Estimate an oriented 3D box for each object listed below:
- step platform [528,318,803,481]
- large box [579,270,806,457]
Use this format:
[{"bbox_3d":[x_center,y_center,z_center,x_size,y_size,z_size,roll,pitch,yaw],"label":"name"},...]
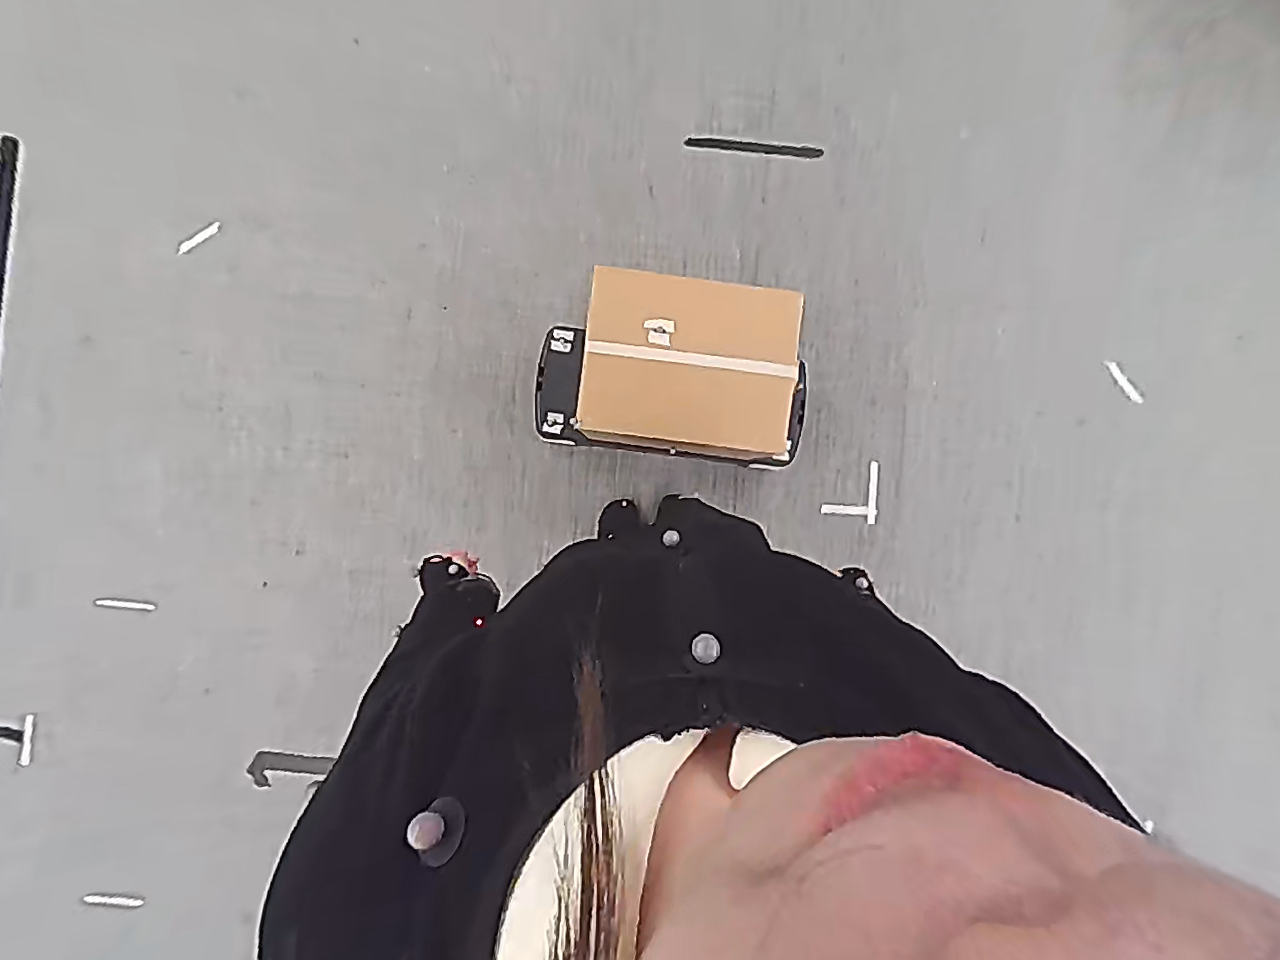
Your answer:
[{"bbox_3d":[0.063,-0.200,1.397,0.684,0.204,0.286,12,90,-1],"label":"step platform"},{"bbox_3d":[0.100,-0.222,1.160,0.408,0.320,0.320,7,90,0],"label":"large box"}]
